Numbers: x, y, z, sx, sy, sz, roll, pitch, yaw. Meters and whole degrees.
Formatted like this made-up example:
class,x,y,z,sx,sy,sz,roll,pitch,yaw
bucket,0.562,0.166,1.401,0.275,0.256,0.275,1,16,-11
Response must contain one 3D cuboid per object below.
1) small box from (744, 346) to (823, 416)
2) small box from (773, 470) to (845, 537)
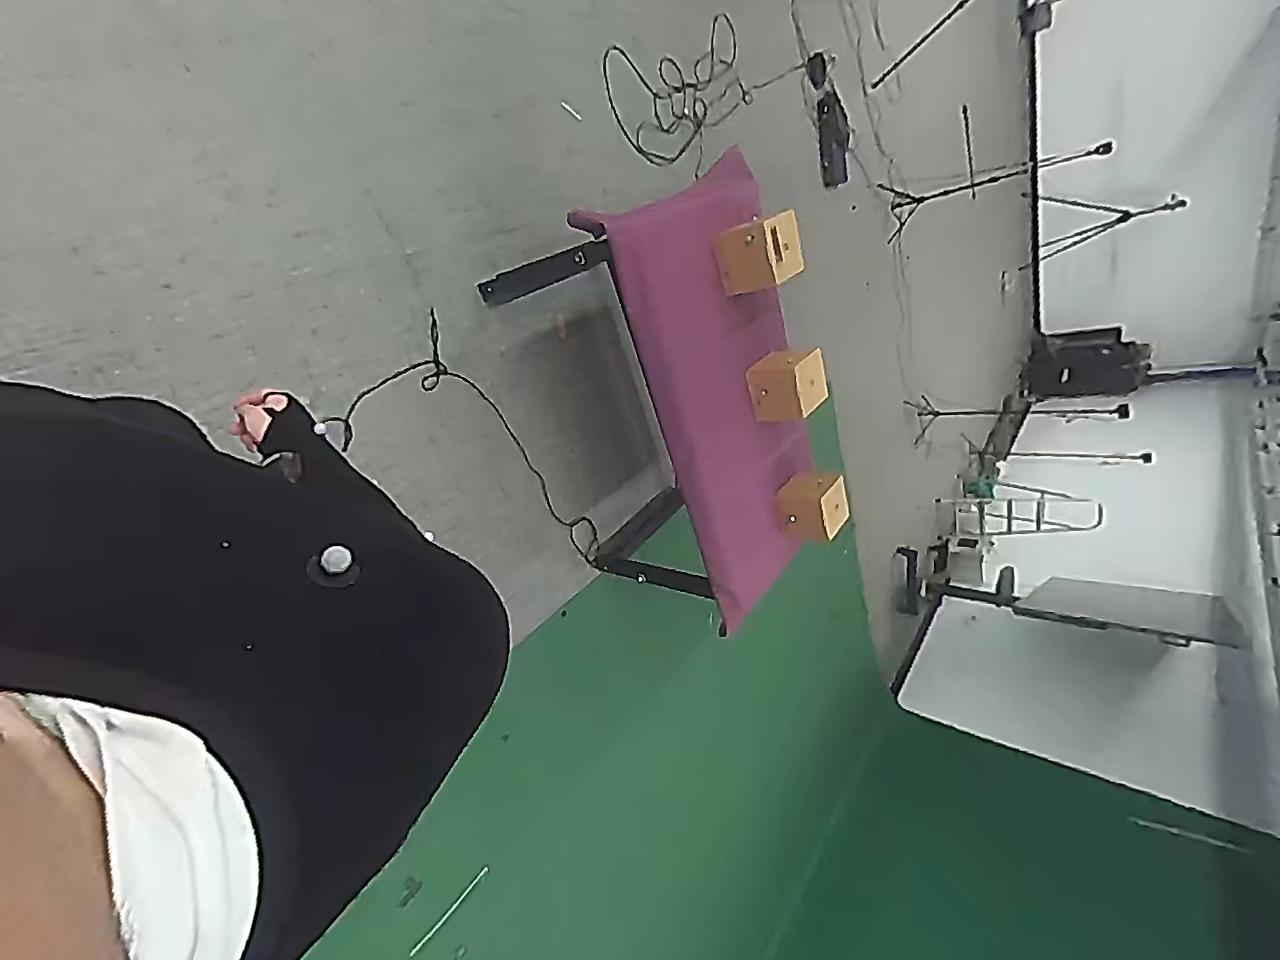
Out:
class,x,y,z,sx,sy,sz,roll,pitch,yaw
small box,0.450,-0.310,1.691,0.179,0.176,0.168,-38,120,-36
small box,0.583,0.073,1.863,0.179,0.176,0.168,-37,118,-38
